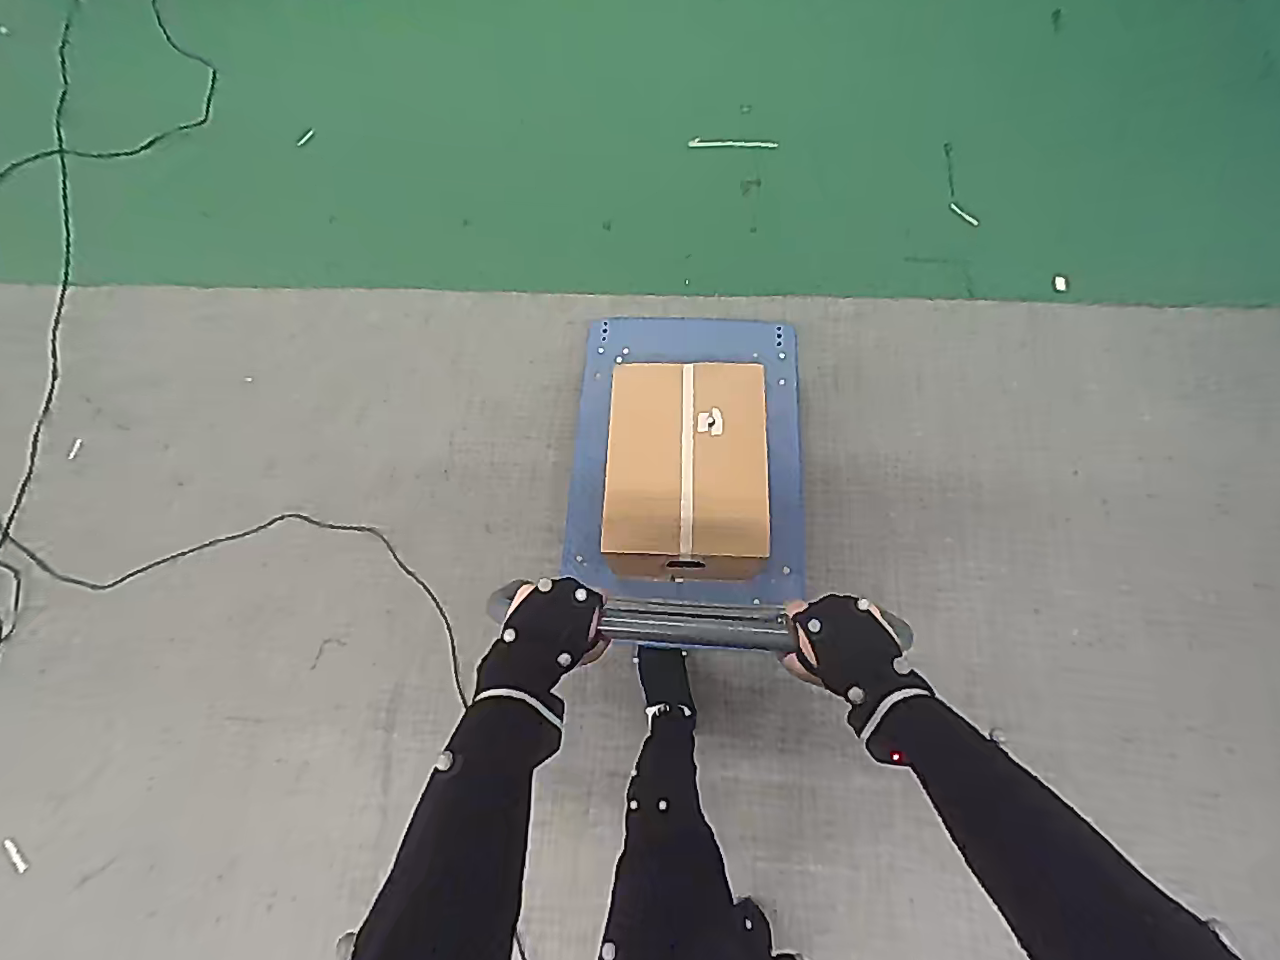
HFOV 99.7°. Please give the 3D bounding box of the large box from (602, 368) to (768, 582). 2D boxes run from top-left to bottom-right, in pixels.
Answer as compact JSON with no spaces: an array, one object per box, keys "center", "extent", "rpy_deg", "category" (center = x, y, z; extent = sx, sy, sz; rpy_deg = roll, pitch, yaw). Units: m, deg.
[{"center":[0.097,0.005,1.203],"extent":[0.320,0.320,0.408],"rpy_deg":[1,71,3],"category":"large box"}]
